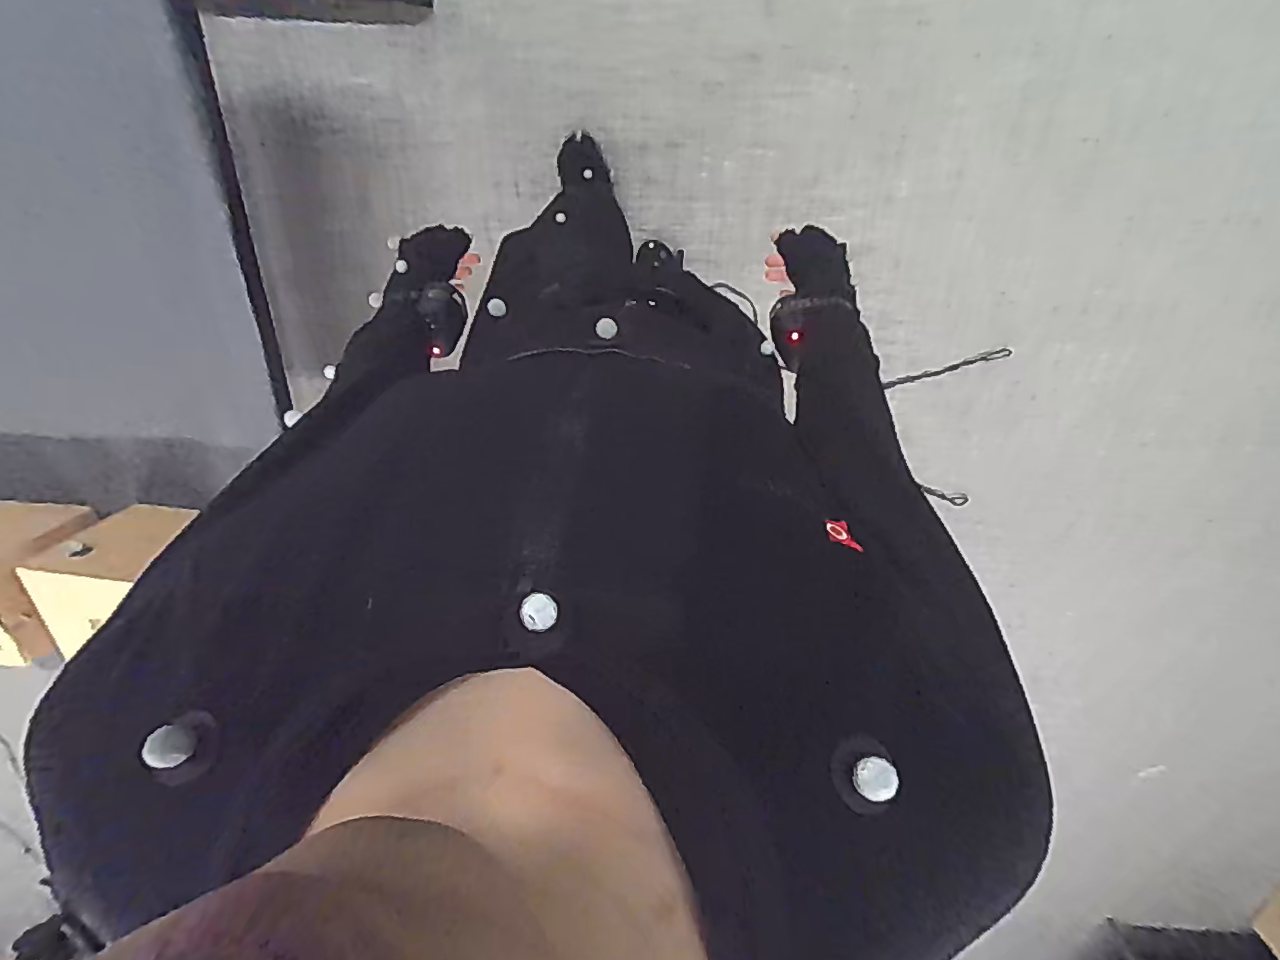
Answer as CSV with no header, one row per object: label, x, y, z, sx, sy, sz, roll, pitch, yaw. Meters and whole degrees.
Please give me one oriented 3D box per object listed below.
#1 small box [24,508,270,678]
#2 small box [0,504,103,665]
small box,-0.688,0.154,0.781,0.179,0.176,0.168,6,117,3
small box,-0.924,0.147,0.796,0.179,0.176,0.168,4,117,3
